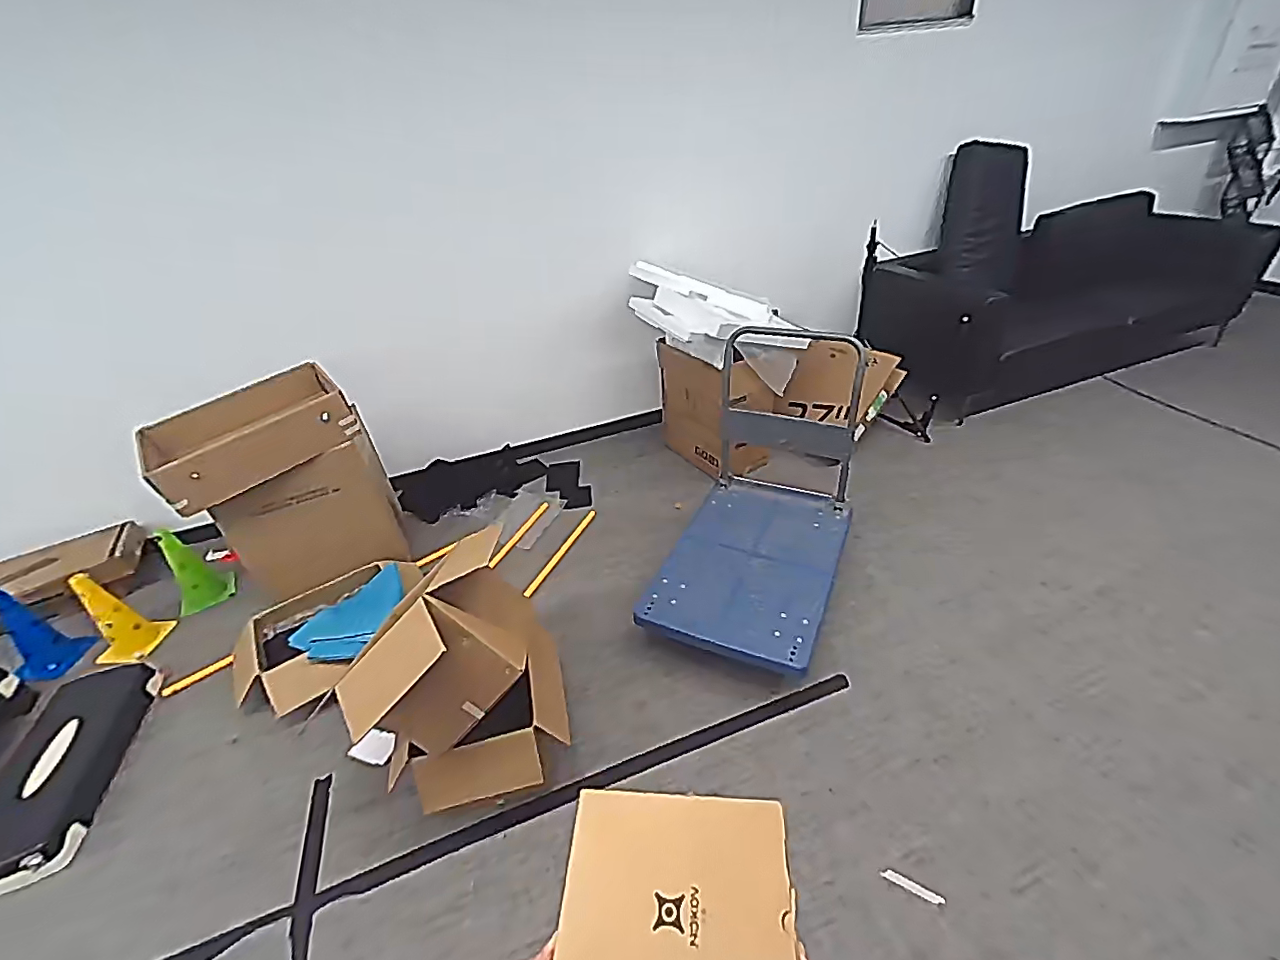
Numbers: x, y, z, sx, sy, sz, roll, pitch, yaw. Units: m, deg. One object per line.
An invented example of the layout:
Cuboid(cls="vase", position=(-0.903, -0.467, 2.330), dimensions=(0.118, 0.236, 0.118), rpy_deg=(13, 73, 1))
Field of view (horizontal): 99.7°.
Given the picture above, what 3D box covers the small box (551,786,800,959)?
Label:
Cuboid(cls="small box", position=(0.035, 0.379, 0.445), dimensions=(0.179, 0.176, 0.168), rpy_deg=(-1, 37, 9))
